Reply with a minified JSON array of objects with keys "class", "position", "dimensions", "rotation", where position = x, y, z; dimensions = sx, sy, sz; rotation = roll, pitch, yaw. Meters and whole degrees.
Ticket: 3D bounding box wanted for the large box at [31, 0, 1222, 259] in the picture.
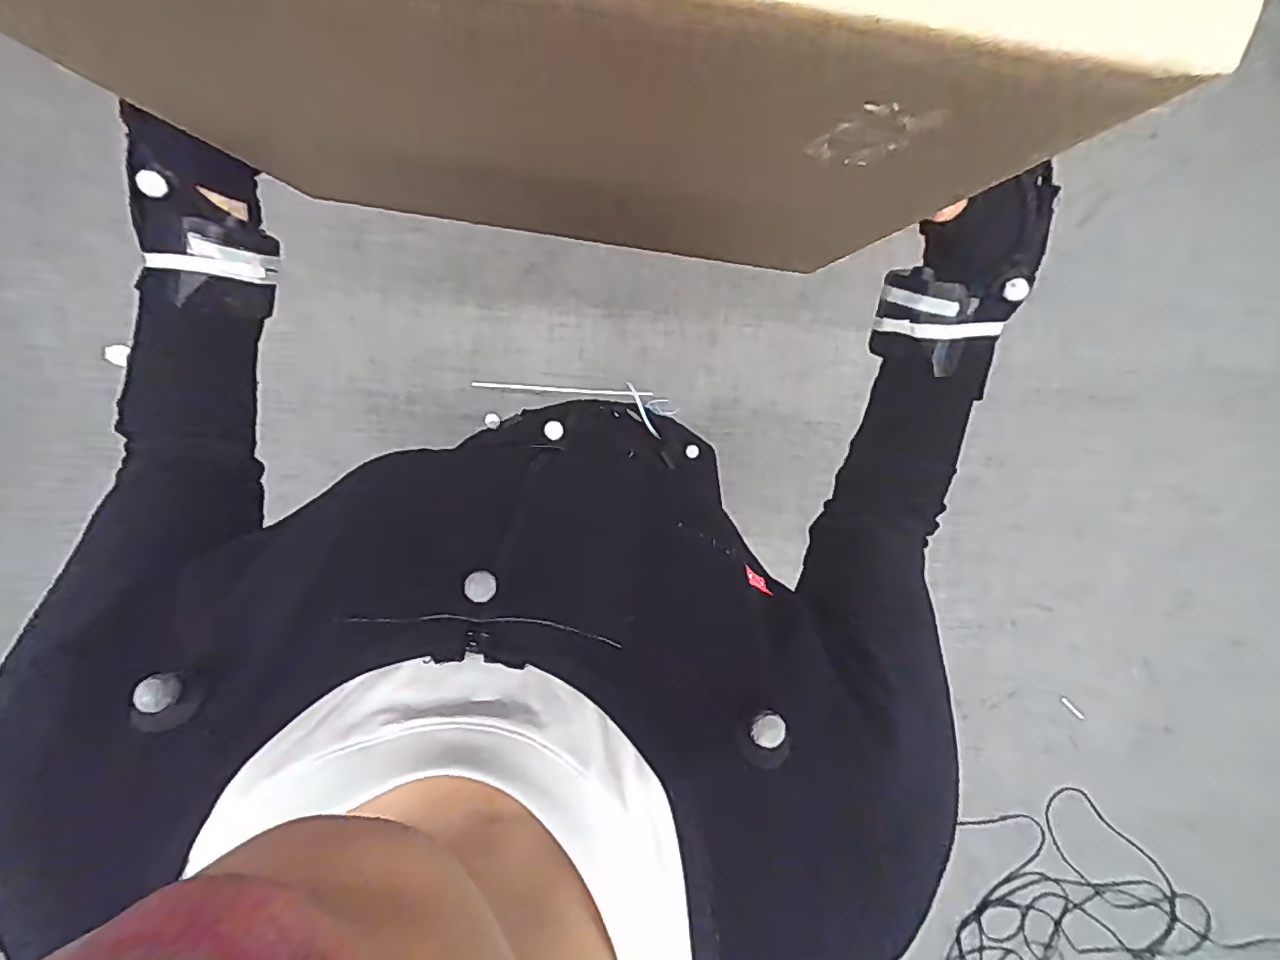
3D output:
[{"class":"large box","position":[-0.025,-0.318,0.254],"dimensions":[0.408,0.320,0.320],"rotation":[7,102,-5]}]
